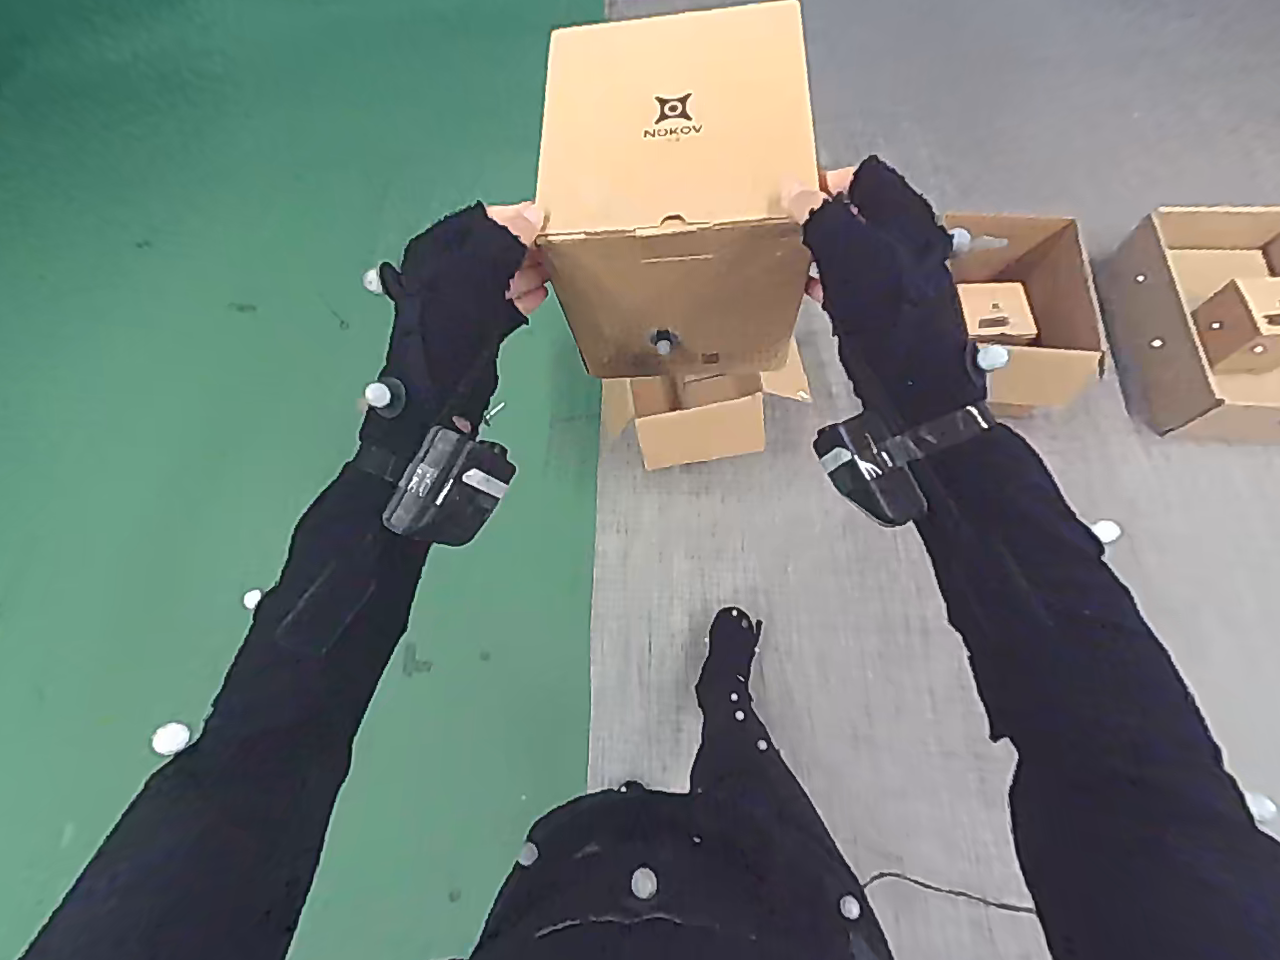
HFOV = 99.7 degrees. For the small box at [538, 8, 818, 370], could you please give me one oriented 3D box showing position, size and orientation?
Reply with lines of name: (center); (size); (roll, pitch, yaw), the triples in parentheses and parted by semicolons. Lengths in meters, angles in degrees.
small box: (0.032, -0.203, 0.413); (0.168, 0.176, 0.179); (-1, 72, 7)
